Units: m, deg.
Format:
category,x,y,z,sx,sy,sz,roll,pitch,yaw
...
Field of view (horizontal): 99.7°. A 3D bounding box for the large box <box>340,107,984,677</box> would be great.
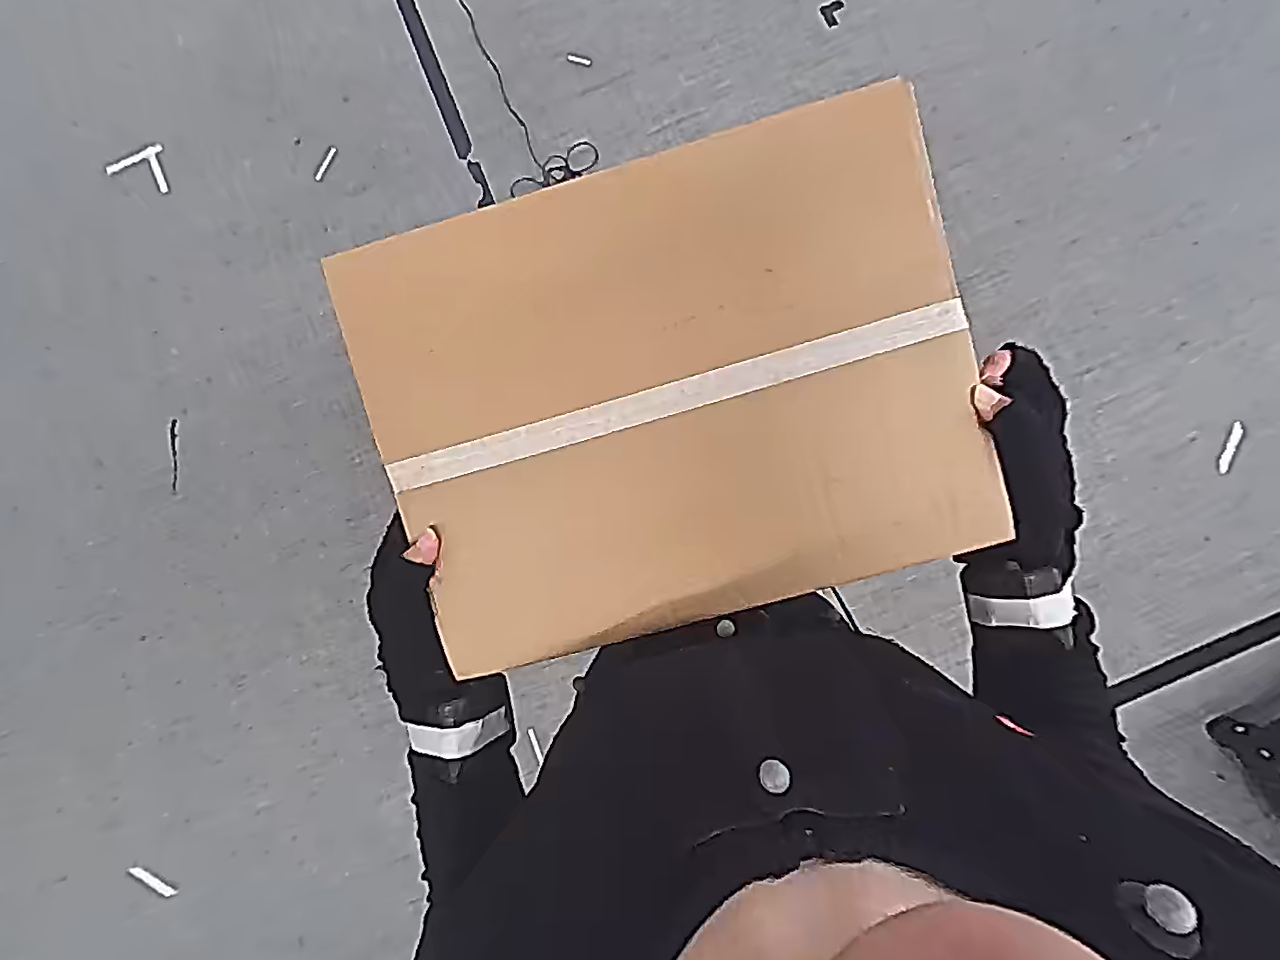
category,x,y,z,sx,sy,sz,roll,pitch,yaw
large box,0.022,-0.065,0.531,0.408,0.320,0.320,-15,94,4
